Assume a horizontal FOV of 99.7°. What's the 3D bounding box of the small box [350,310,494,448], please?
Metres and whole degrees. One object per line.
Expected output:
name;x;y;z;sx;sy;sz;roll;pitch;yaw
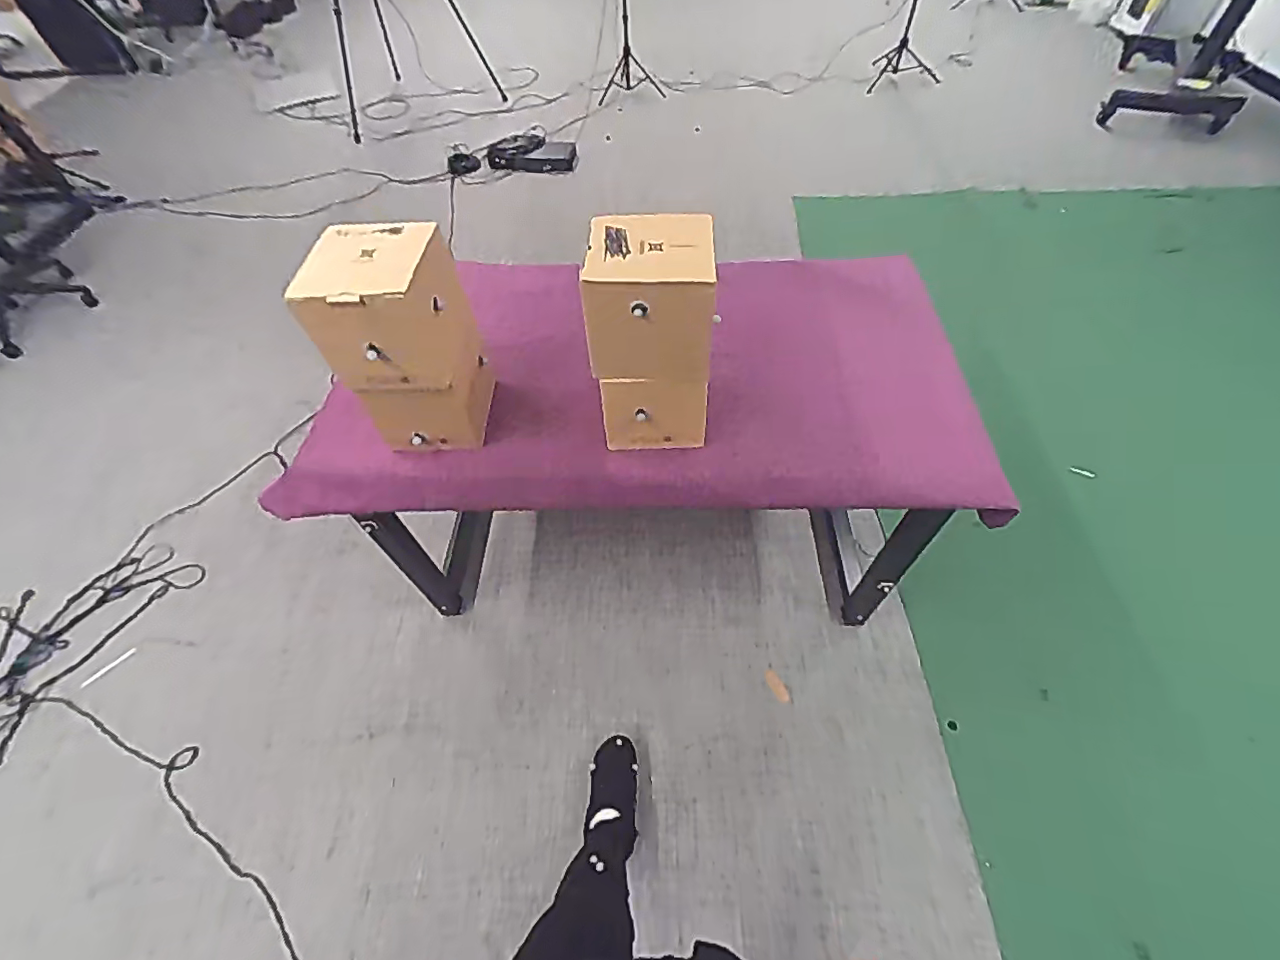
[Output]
small box;-0.364;-0.174;0.944;0.168;0.176;0.179;-1;55;2

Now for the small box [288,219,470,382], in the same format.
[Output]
small box;-0.369;-0.260;0.805;0.168;0.176;0.179;0;55;3

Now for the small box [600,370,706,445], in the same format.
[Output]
small box;0.025;-0.172;0.927;0.168;0.176;0.179;-2;53;2

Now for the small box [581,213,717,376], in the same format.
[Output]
small box;0.019;-0.268;0.794;0.179;0.176;0.168;1;53;3
